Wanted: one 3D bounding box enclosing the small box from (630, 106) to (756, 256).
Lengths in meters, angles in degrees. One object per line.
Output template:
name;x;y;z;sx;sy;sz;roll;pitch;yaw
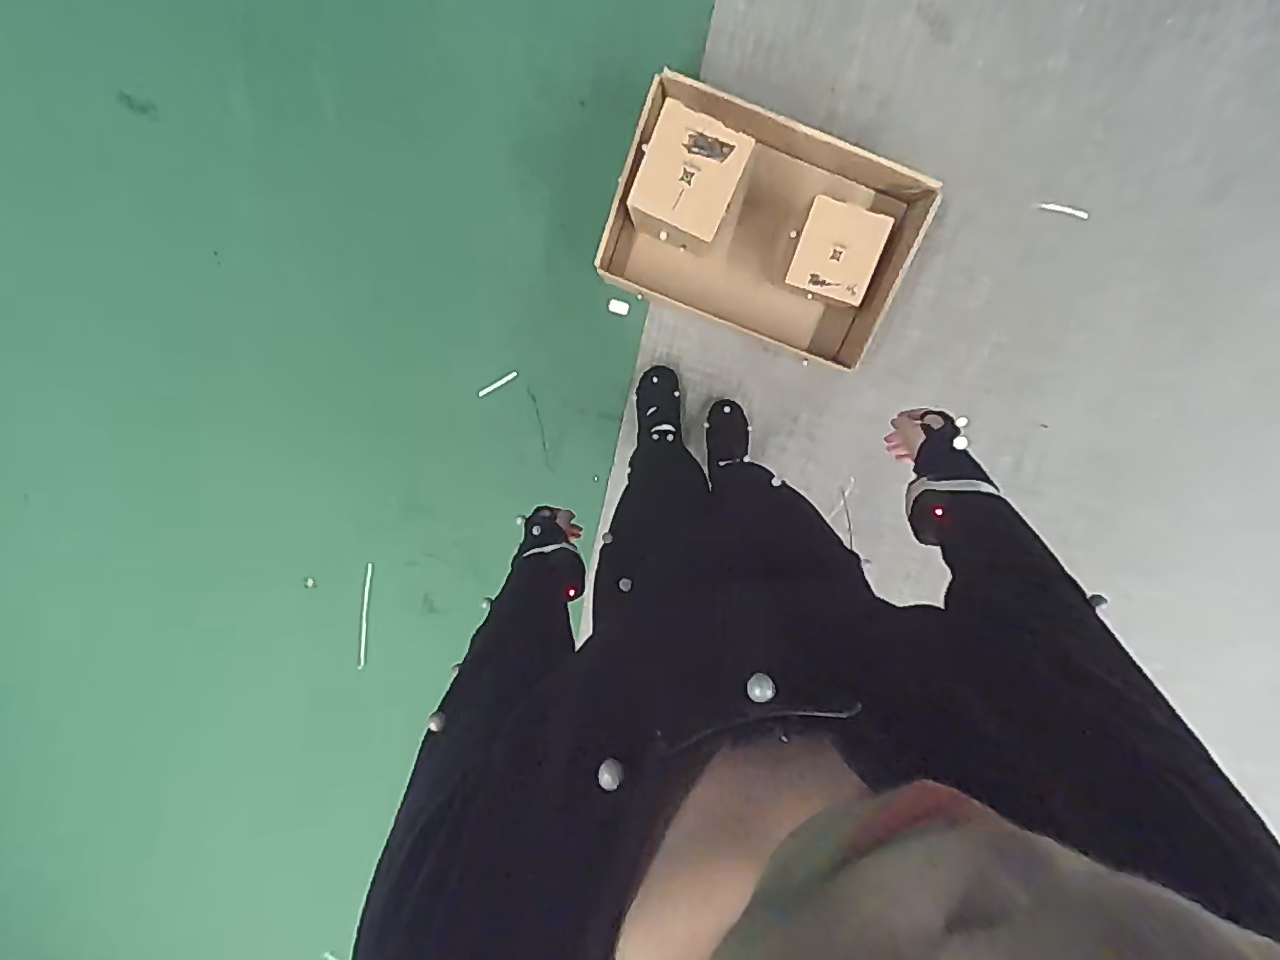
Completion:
small box;0.091;-0.536;0.997;0.168;0.176;0.179;23;108;-4

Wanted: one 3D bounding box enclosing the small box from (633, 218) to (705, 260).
small box;0.097;-0.587;1.153;0.168;0.176;0.179;22;107;-4
